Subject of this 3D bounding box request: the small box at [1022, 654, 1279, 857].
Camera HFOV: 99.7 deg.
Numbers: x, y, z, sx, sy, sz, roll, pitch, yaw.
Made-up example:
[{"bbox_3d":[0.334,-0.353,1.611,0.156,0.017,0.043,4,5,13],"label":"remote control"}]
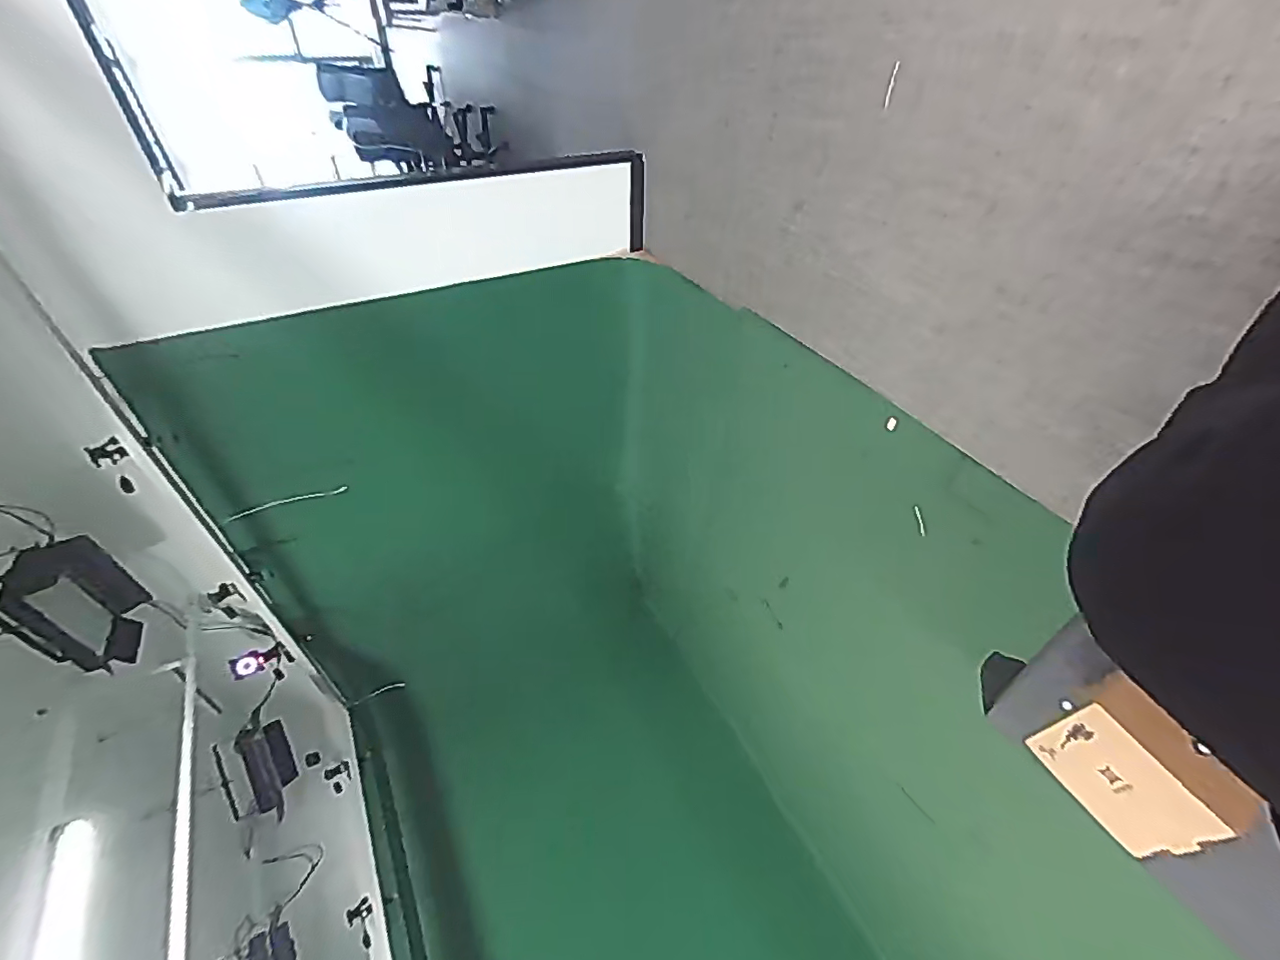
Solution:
[{"bbox_3d":[0.710,0.382,0.762,0.179,0.176,0.168,53,152,34],"label":"small box"}]
